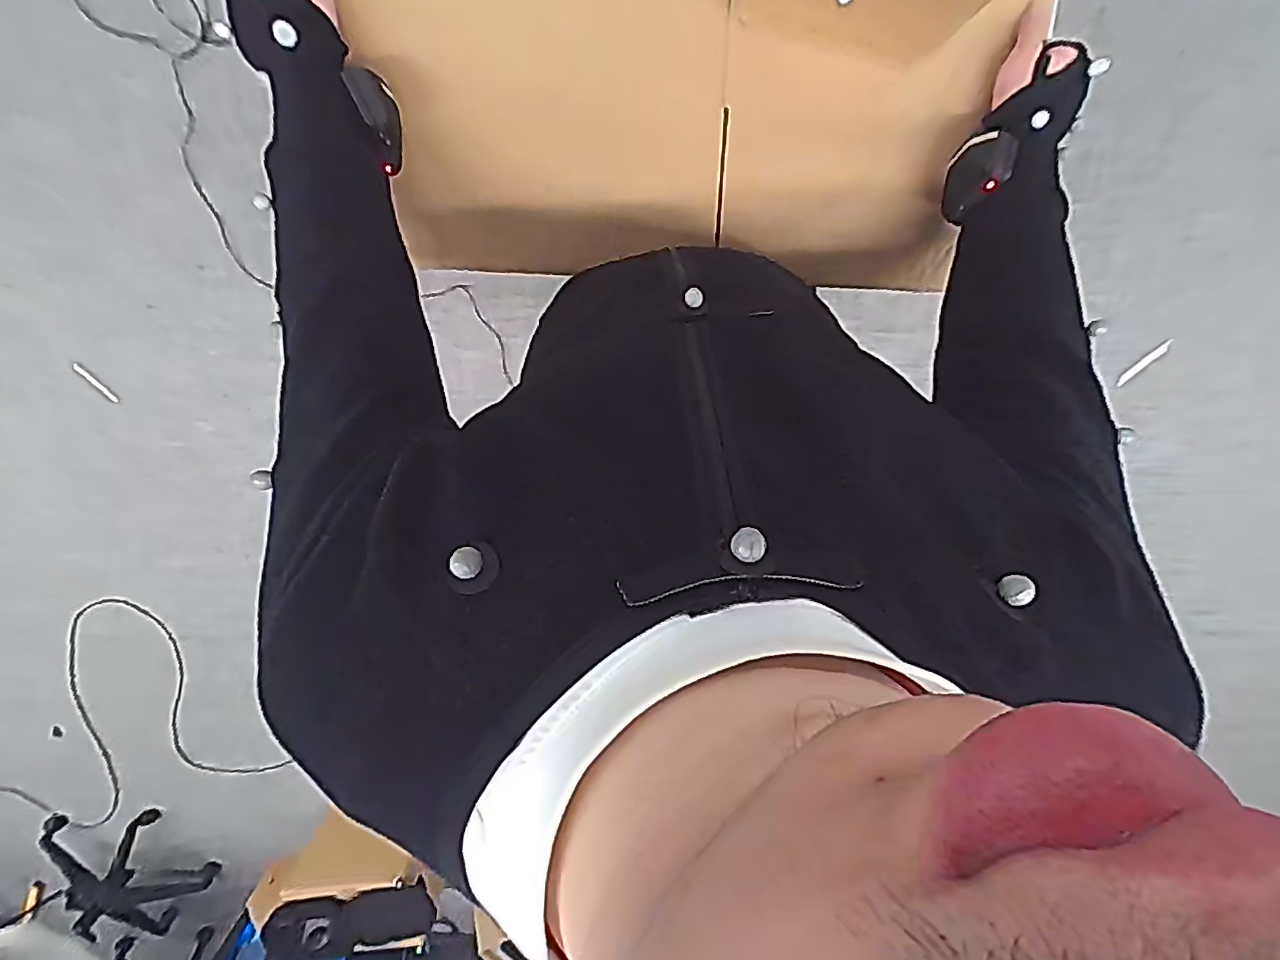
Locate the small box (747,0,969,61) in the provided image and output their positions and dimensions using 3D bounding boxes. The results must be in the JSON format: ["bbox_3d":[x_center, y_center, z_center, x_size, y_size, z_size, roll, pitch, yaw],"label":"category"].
[{"bbox_3d":[0.194,-0.464,0.413,0.179,0.176,0.168,13,107,-4],"label":"small box"}]
